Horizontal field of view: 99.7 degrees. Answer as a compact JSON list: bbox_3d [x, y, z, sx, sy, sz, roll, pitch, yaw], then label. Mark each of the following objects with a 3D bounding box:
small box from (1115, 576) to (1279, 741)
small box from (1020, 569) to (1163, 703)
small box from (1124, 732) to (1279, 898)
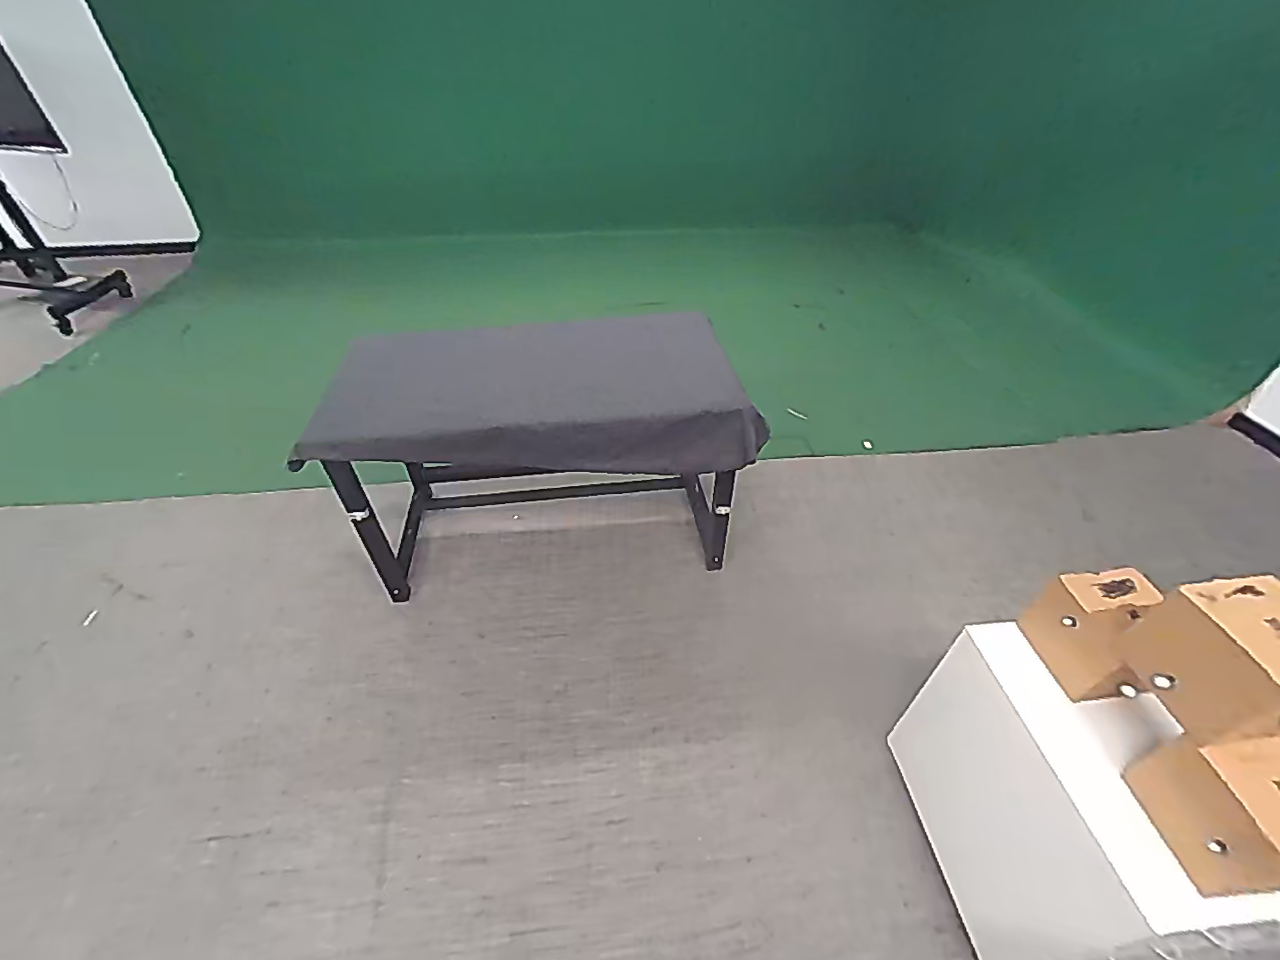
[{"bbox_3d":[0.886,0.269,0.803,0.168,0.176,0.179,-5,43,-6],"label":"small box"},{"bbox_3d":[0.874,0.293,1.020,0.168,0.176,0.179,-5,44,-5],"label":"small box"},{"bbox_3d":[0.895,0.493,0.799,0.168,0.176,0.179,-2,40,-4],"label":"small box"}]
